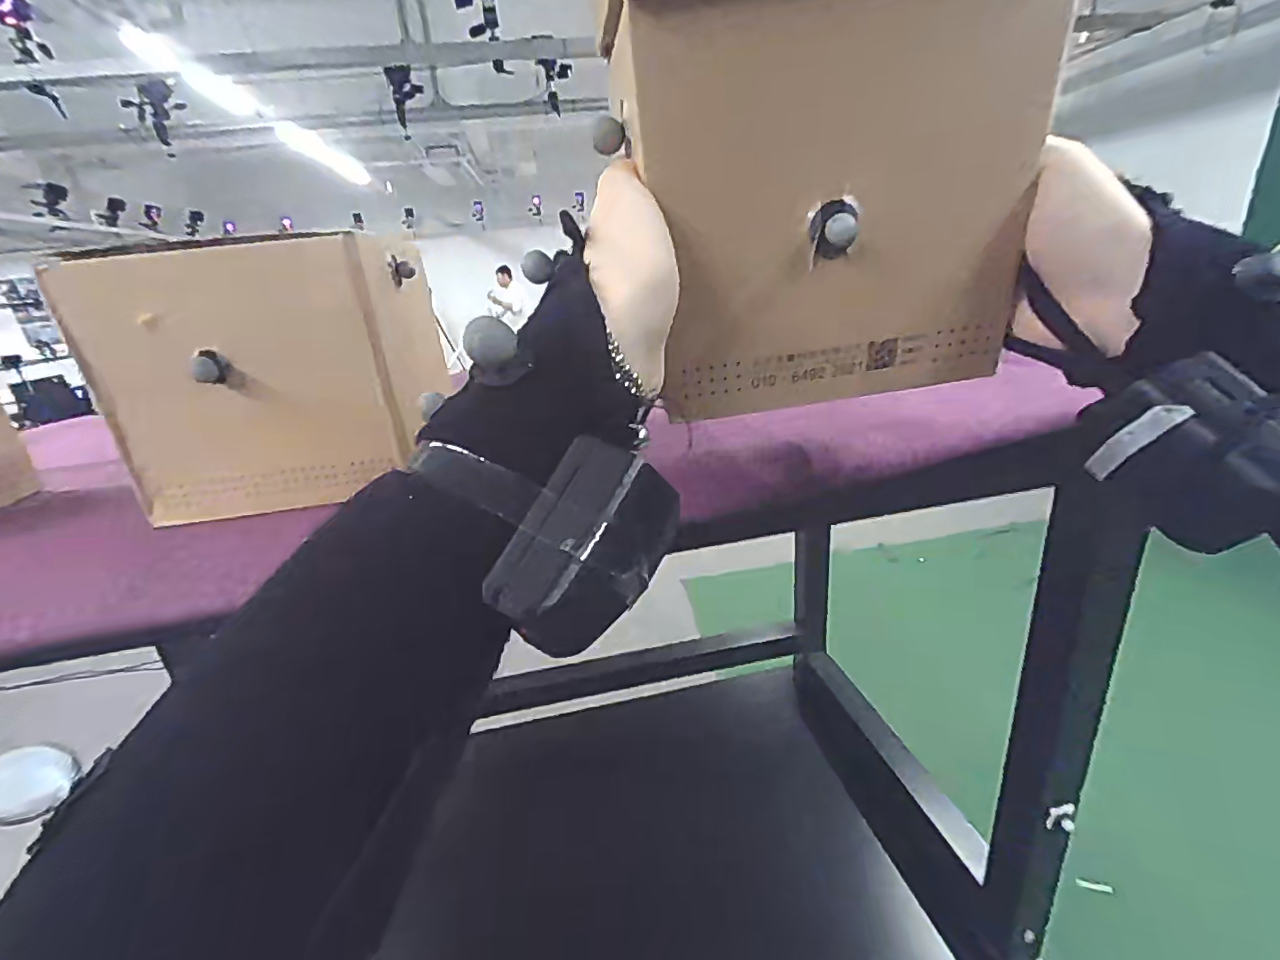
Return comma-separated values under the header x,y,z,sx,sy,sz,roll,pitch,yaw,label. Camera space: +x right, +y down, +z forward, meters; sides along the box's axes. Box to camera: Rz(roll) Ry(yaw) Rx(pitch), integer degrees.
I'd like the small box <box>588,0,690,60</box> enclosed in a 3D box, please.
x,y,z,sx,sy,sz,roll,pitch,yaw,label
0.058,-0.282,0.207,0.179,0.176,0.168,-10,30,-1,small box

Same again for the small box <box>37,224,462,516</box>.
x,y,z,sx,sy,sz,roll,pitch,yaw,label
-0.252,-0.084,0.407,0.179,0.176,0.168,-8,22,-5,small box

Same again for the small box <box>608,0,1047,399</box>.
x,y,z,sx,sy,sz,roll,pitch,yaw,label
0.077,-0.151,0.303,0.168,0.176,0.179,-8,30,-1,small box
